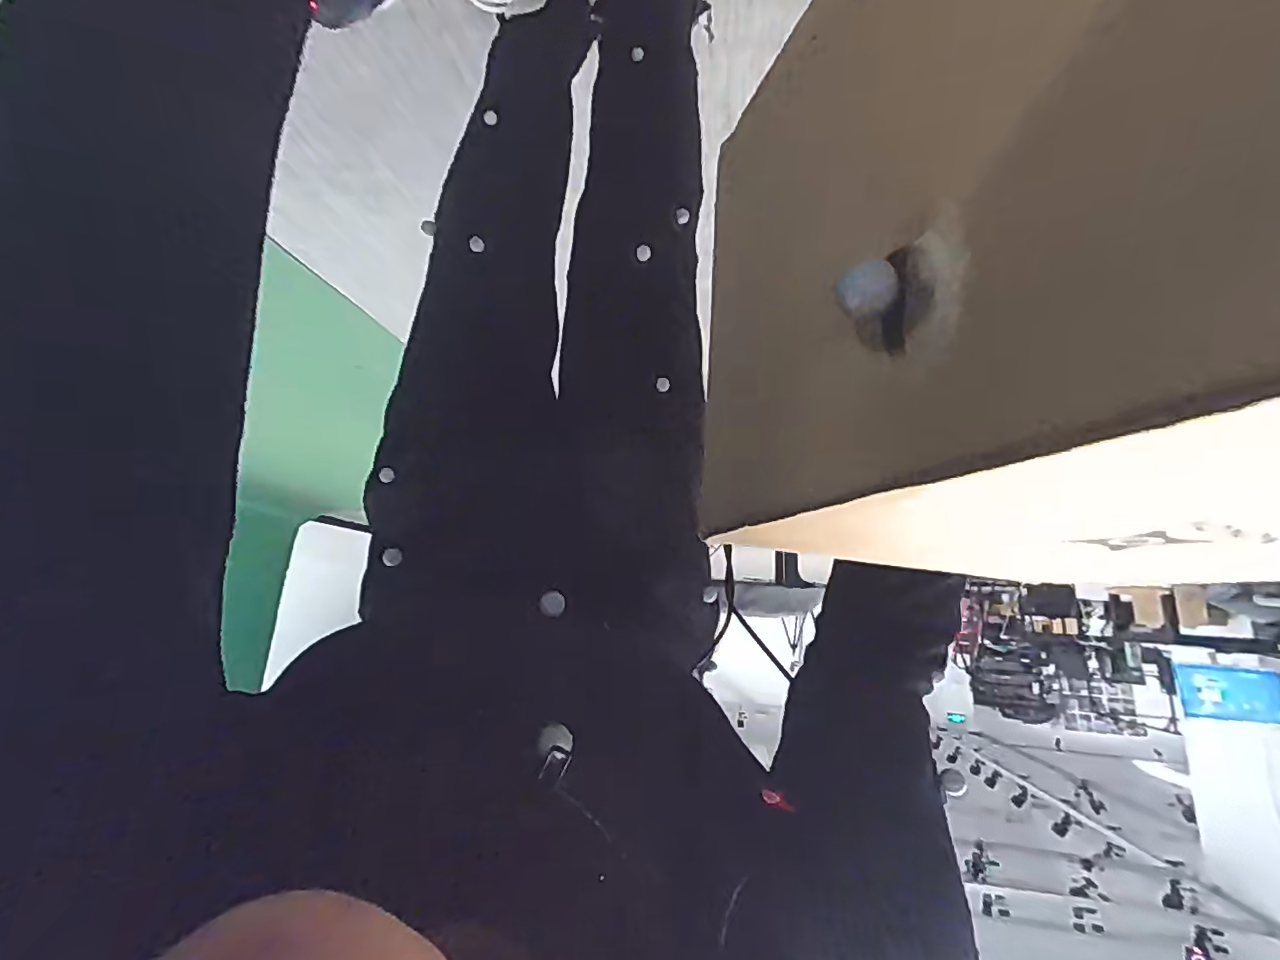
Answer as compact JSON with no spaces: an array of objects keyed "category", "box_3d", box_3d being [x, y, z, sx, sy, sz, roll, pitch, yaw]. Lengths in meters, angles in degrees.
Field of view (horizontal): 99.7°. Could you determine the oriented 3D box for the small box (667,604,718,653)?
[{"category":"small box","box_3d":[0.214,0.591,2.159,0.168,0.176,0.179,-1,165,20]}]
